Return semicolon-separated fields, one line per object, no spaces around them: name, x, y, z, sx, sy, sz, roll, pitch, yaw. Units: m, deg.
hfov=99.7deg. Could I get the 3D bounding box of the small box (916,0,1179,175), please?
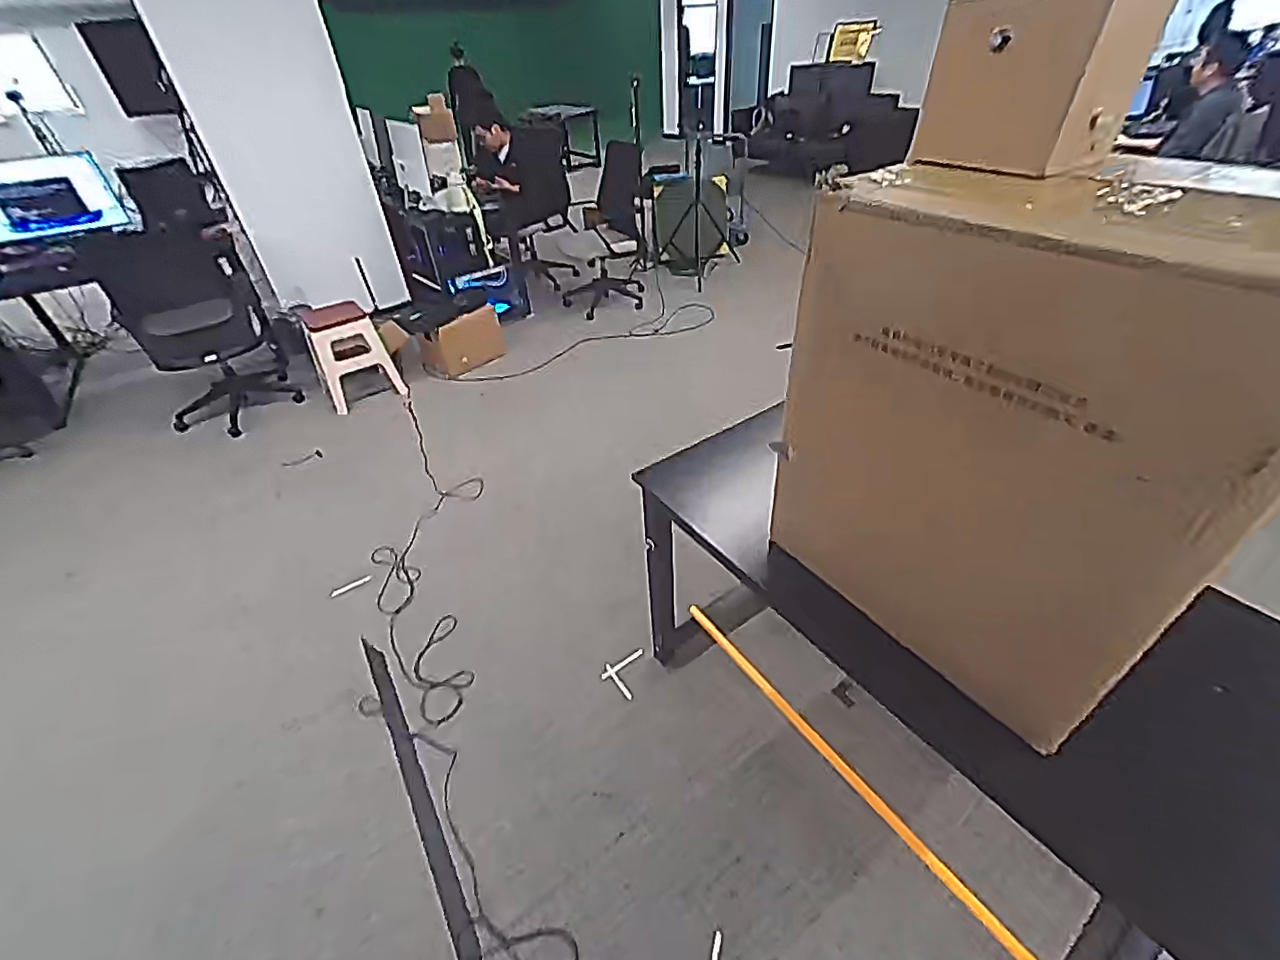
small box;0.473;-0.478;0.653;0.168;0.176;0.179;-25;45;-26
